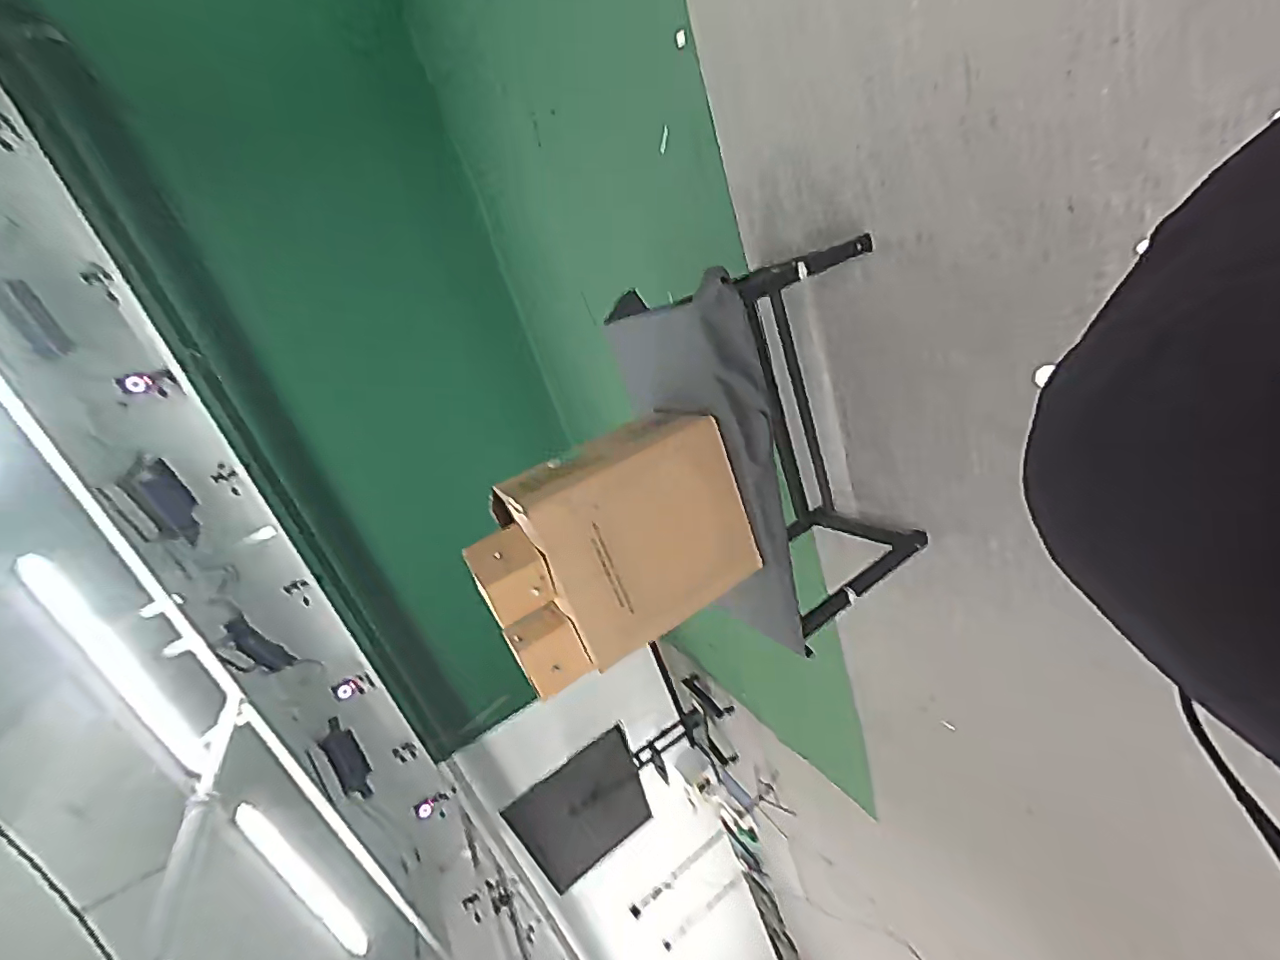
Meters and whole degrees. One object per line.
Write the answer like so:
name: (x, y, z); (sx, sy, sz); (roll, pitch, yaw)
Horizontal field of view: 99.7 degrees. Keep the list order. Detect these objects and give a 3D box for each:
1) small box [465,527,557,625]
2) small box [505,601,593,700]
small box: (-0.348, 0.252, 1.475); (0.179, 0.176, 0.168); (40, 149, 43)
small box: (-0.259, 0.483, 1.555); (0.168, 0.176, 0.179); (15, 131, 61)
